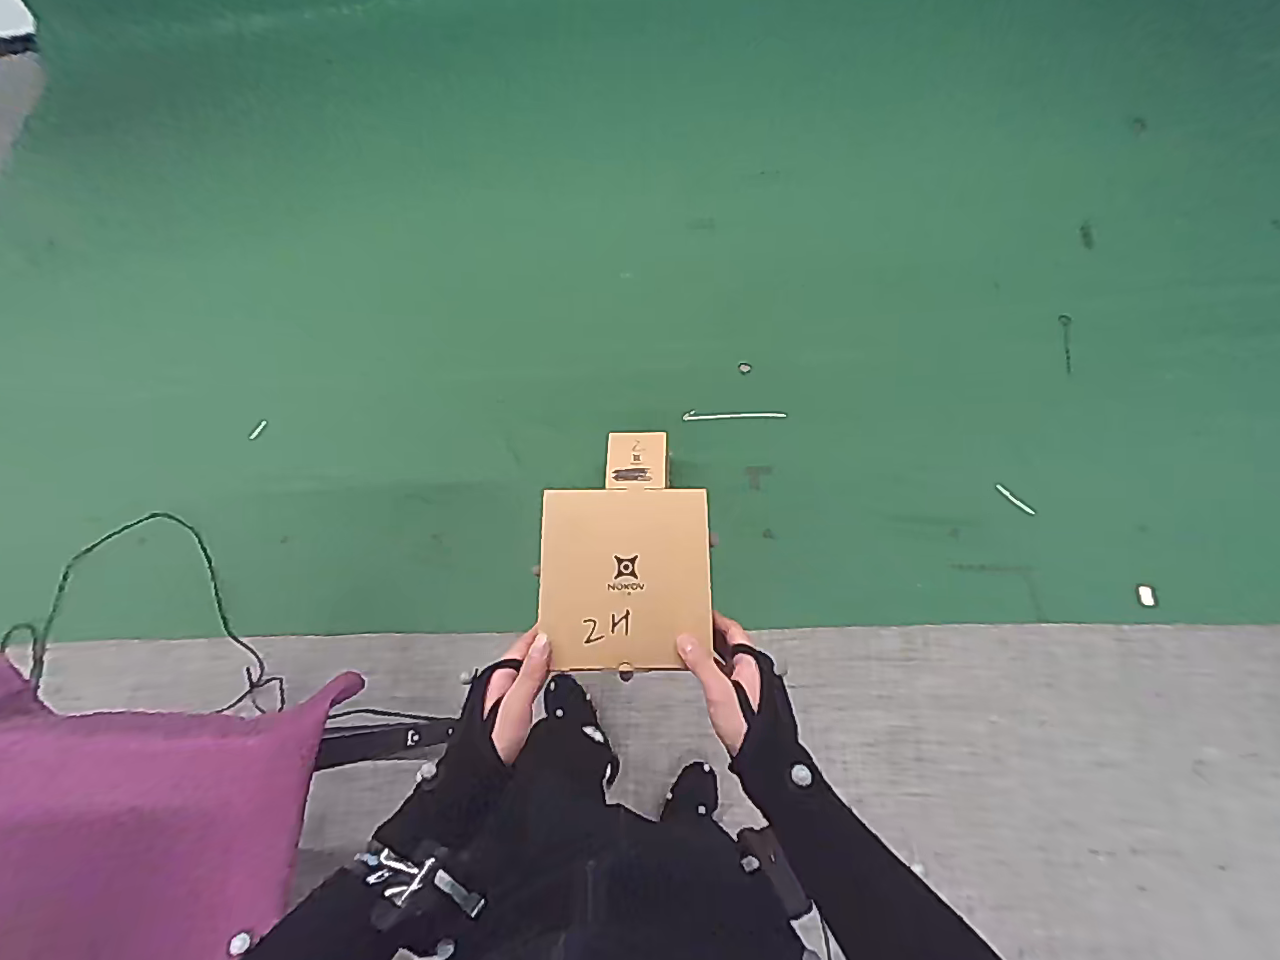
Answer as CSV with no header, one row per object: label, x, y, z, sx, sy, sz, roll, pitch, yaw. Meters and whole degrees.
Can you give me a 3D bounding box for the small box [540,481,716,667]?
small box,-0.010,0.108,0.595,0.168,0.176,0.179,1,75,0
